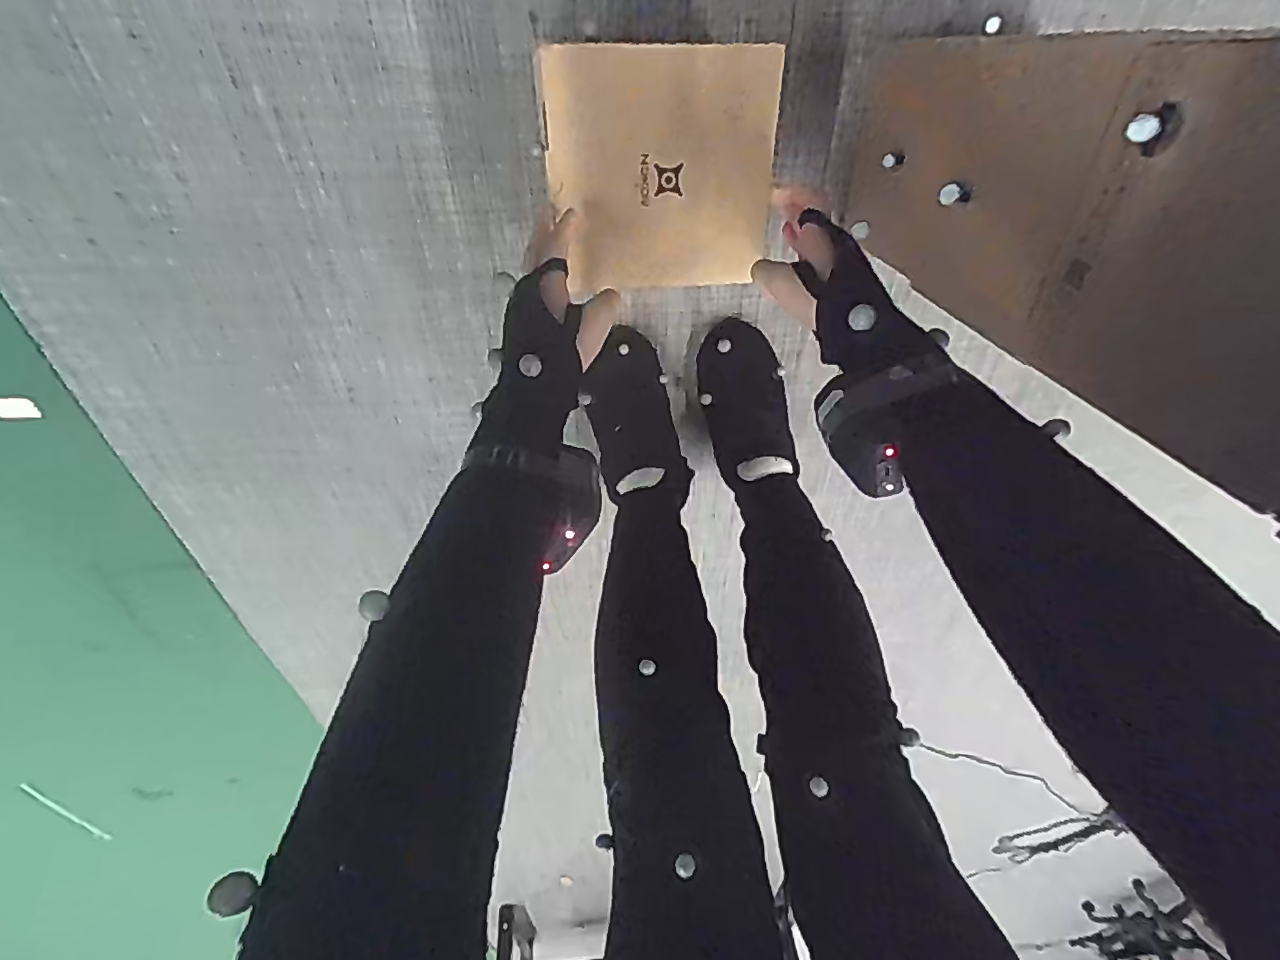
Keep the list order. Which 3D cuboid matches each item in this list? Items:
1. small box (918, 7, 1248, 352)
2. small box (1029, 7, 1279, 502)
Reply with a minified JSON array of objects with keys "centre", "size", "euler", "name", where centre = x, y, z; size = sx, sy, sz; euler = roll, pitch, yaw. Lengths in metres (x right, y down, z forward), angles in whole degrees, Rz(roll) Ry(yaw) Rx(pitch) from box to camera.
[{"centre":[0.327,-0.211,0.377],"size":[0.168,0.176,0.179],"euler":[-6,131,-4],"name":"small box"},{"centre":[0.335,-0.111,0.247],"size":[0.179,0.176,0.168],"euler":[-5,130,-3],"name":"small box"}]
